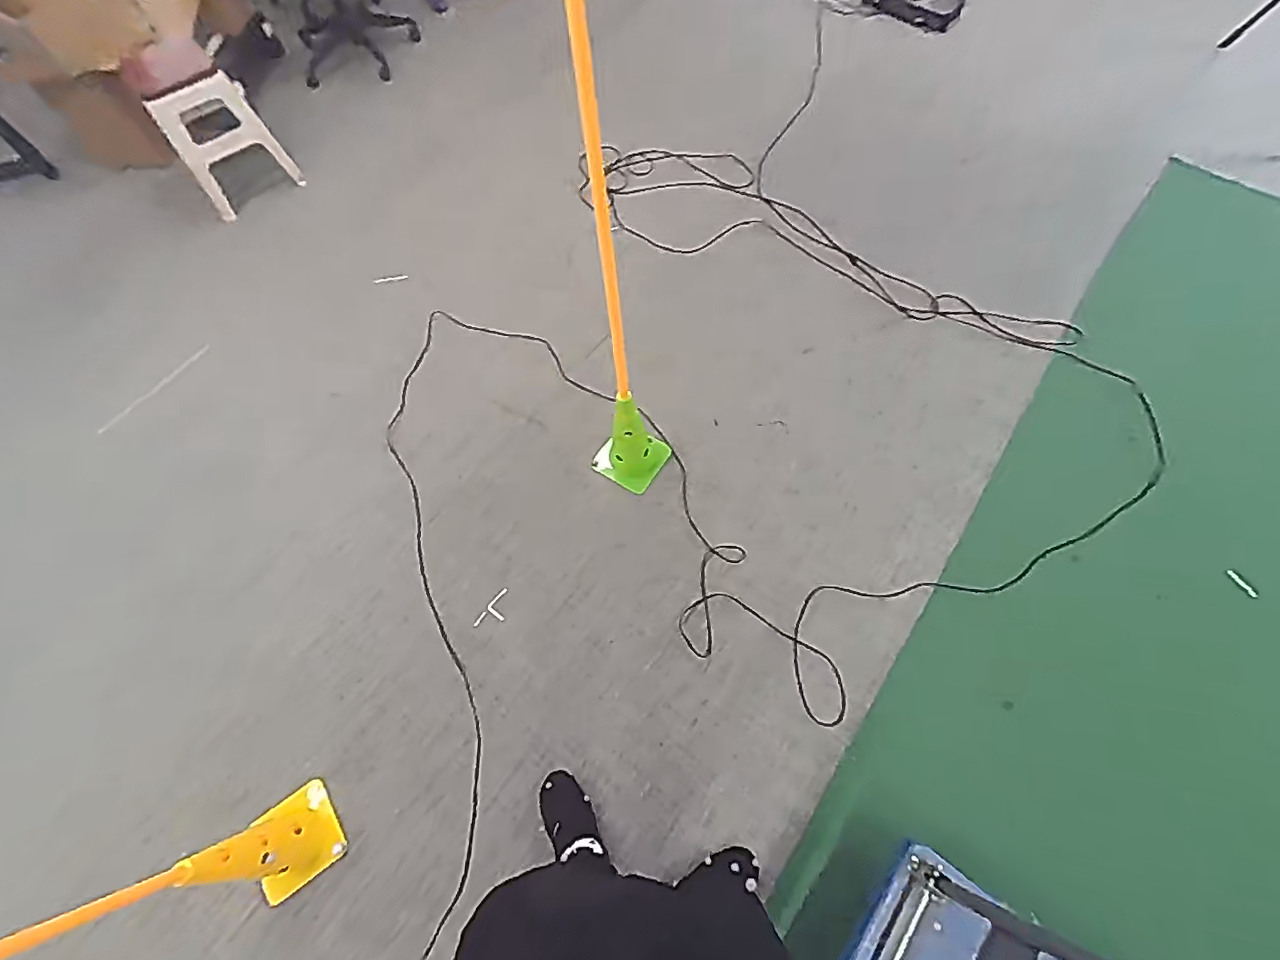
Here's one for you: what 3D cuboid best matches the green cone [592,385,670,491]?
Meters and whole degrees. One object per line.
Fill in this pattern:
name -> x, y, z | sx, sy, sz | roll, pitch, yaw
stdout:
green cone -> -0.033, -0.154, 1.589 | 0.200, 0.368, 0.202 | 29, 68, 15
